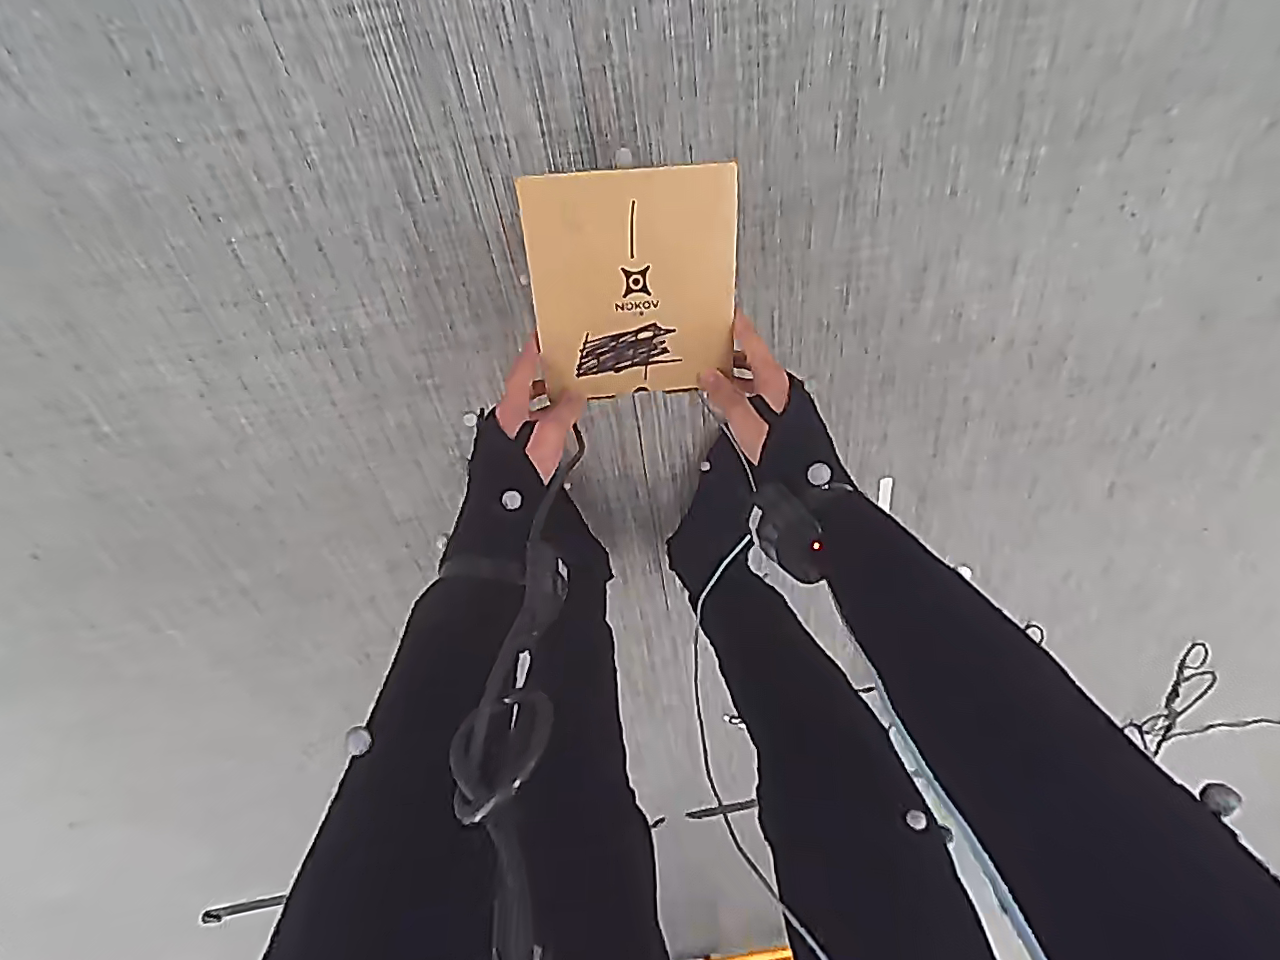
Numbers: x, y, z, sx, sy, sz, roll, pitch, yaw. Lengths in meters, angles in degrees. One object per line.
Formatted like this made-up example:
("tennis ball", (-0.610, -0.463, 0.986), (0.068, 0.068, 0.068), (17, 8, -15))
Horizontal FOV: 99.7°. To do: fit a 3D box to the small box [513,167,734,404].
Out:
("small box", (-0.015, -0.187, 0.504), (0.168, 0.176, 0.179), (-6, 118, -4))
